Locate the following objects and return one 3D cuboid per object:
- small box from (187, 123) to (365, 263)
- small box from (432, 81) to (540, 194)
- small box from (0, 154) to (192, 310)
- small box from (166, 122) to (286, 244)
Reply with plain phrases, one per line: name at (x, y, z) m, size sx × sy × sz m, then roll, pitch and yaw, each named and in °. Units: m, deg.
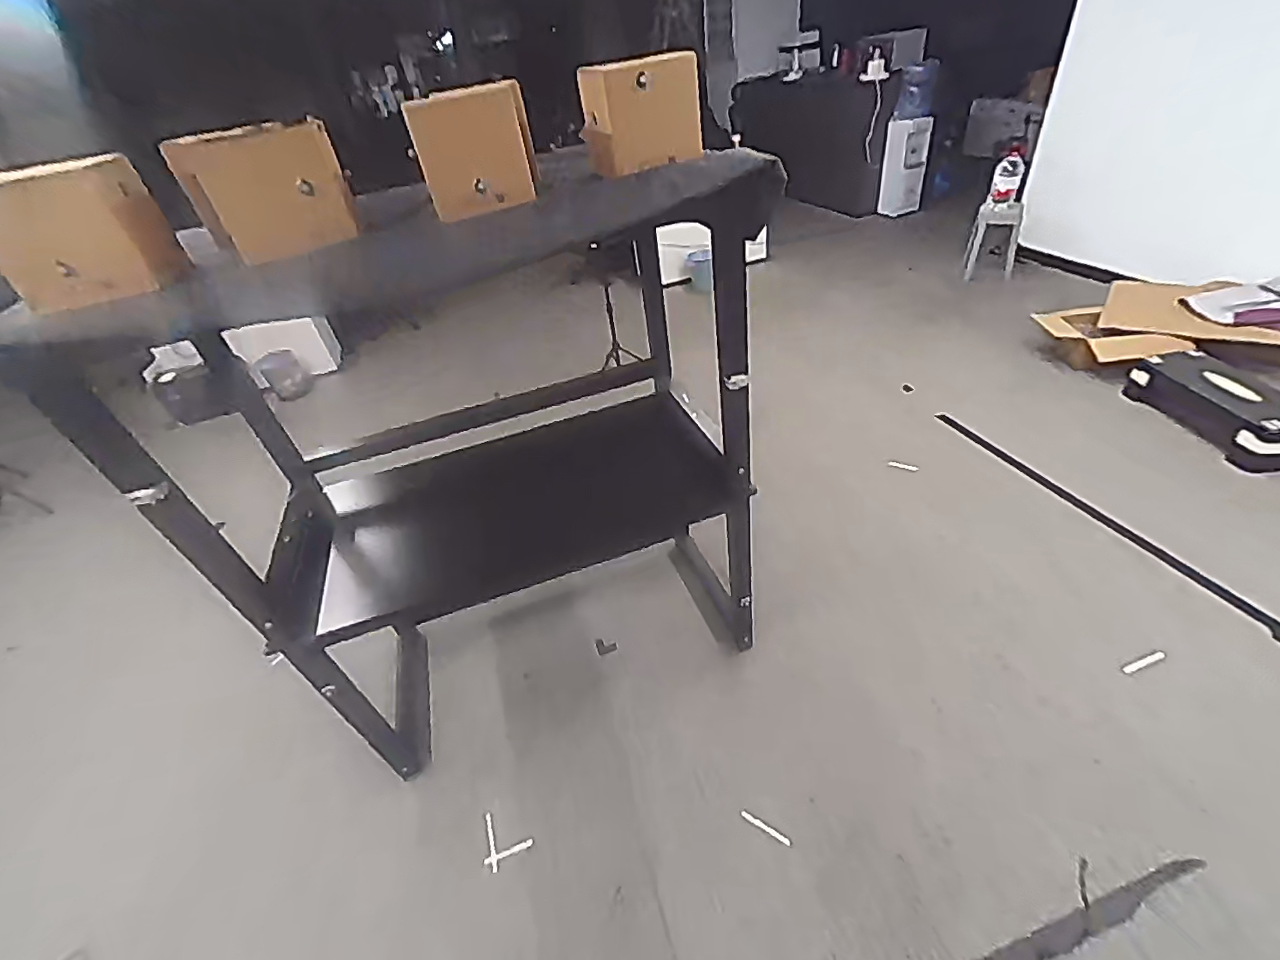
small box at (-0.566, -0.467, 0.874) m, size 0.179 × 0.176 × 0.168 m, roll -18°, pitch 37°, yaw -14°
small box at (-0.313, -0.699, 1.106) m, size 0.168 × 0.176 × 0.179 m, roll -17°, pitch 39°, yaw -8°
small box at (-0.826, -0.374, 0.813) m, size 0.168 × 0.176 × 0.179 m, roll -20°, pitch 40°, yaw -13°
small box at (-0.732, -0.563, 1.029) m, size 0.168 × 0.176 × 0.179 m, roll -17°, pitch 38°, yaw -10°
